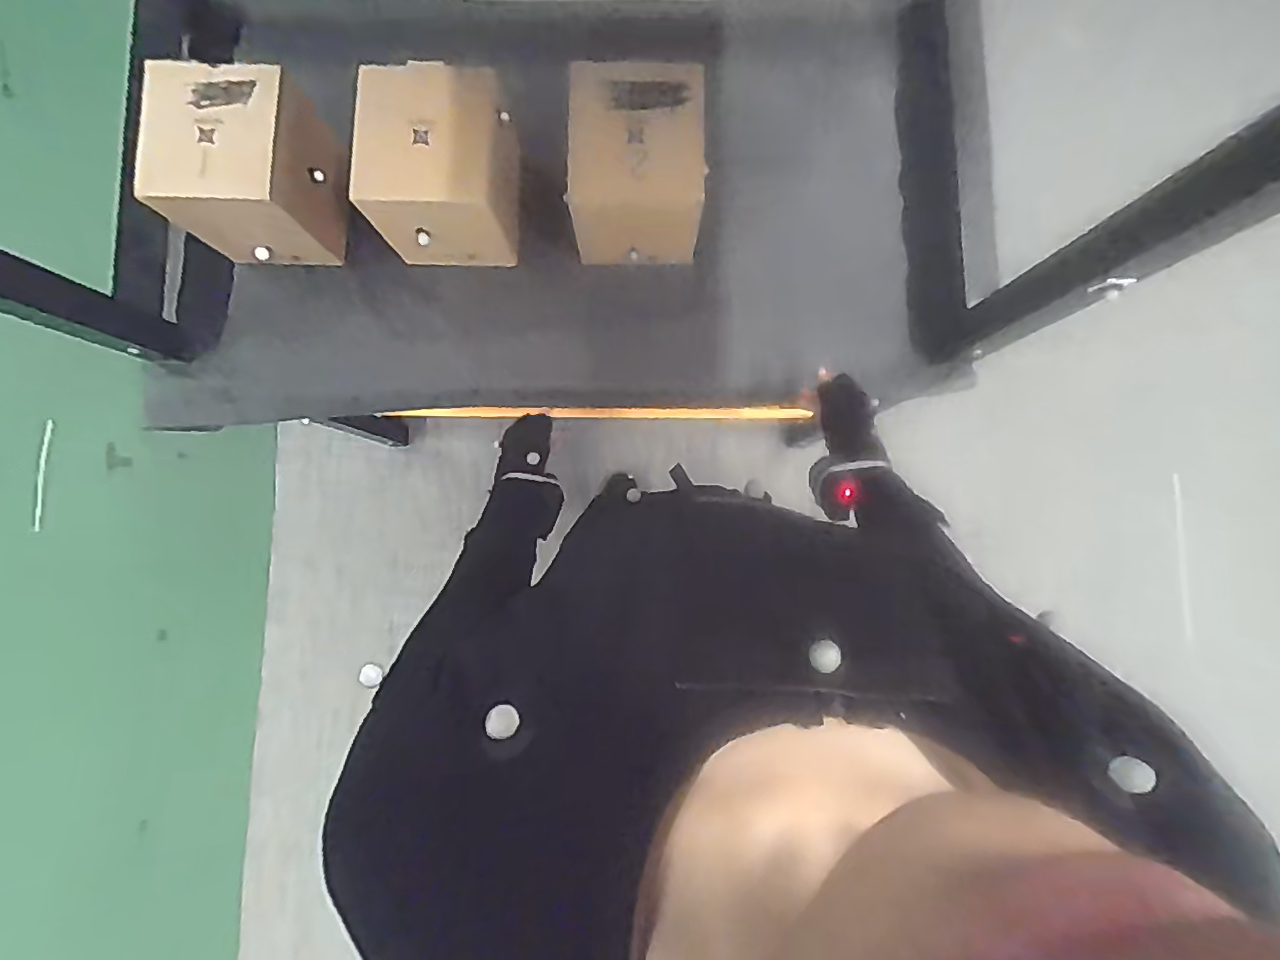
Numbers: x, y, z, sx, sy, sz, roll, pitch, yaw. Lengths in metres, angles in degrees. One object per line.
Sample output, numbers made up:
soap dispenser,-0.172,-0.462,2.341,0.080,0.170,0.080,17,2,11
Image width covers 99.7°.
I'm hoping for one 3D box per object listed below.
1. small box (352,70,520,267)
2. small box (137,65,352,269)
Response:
small box,-0.264,-0.409,0.736,0.168,0.176,0.179,1,85,0
small box,-0.517,-0.412,0.733,0.168,0.176,0.179,1,85,0
